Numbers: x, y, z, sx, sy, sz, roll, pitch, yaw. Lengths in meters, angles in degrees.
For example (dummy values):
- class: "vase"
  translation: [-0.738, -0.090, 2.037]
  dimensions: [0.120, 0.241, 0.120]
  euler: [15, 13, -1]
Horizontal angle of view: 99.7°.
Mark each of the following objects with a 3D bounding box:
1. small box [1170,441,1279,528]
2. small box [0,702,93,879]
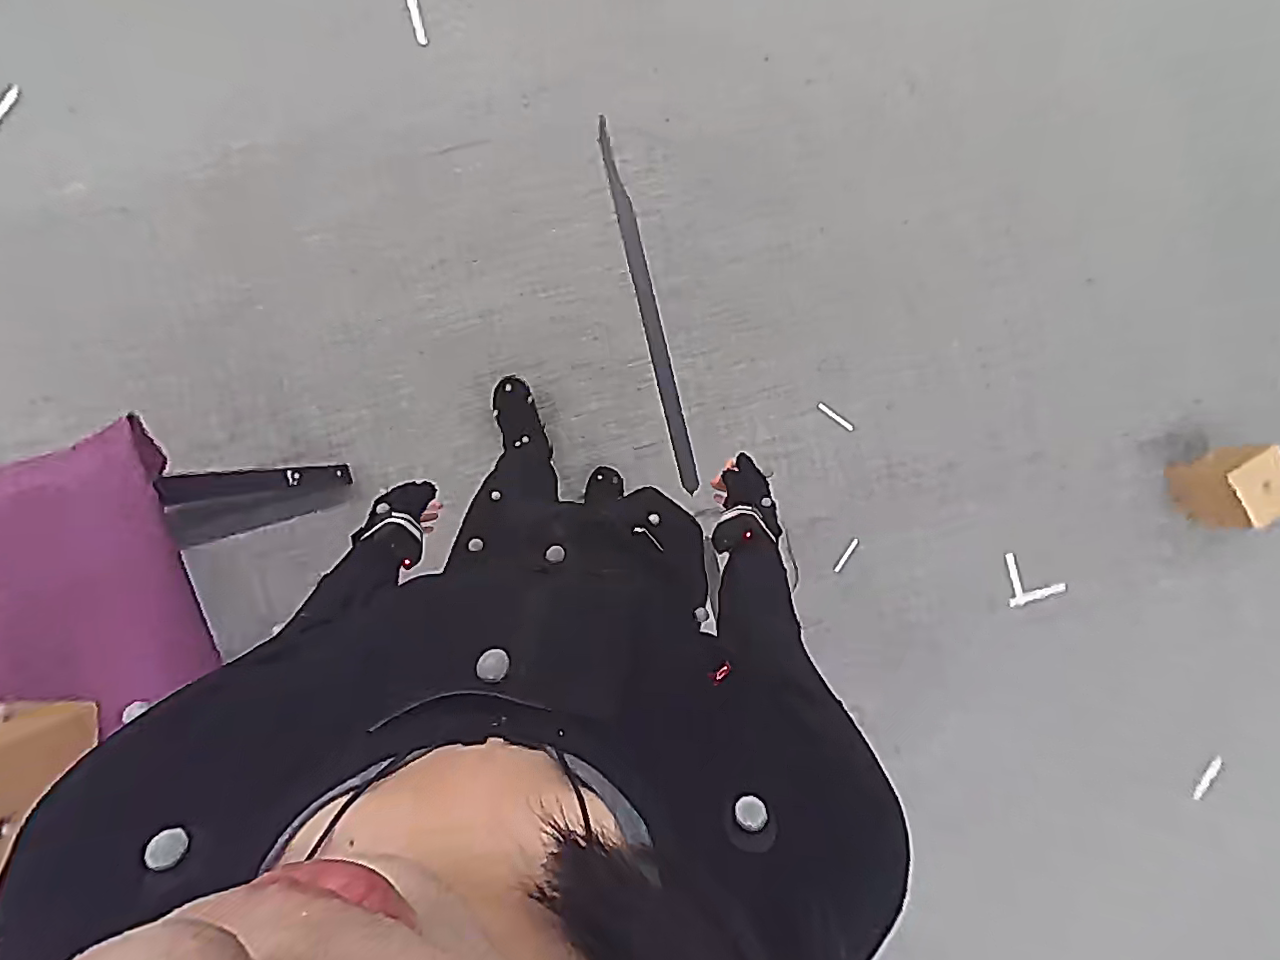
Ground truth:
- class: "small box"
  translation: [1.647, 0.008, 1.493]
  dimensions: [0.168, 0.176, 0.179]
  euler: [-34, 93, -1]
- class: "small box"
  translation: [-0.842, 0.400, 0.673]
  dimensions: [0.168, 0.176, 0.179]
  euler: [0, 92, -2]
